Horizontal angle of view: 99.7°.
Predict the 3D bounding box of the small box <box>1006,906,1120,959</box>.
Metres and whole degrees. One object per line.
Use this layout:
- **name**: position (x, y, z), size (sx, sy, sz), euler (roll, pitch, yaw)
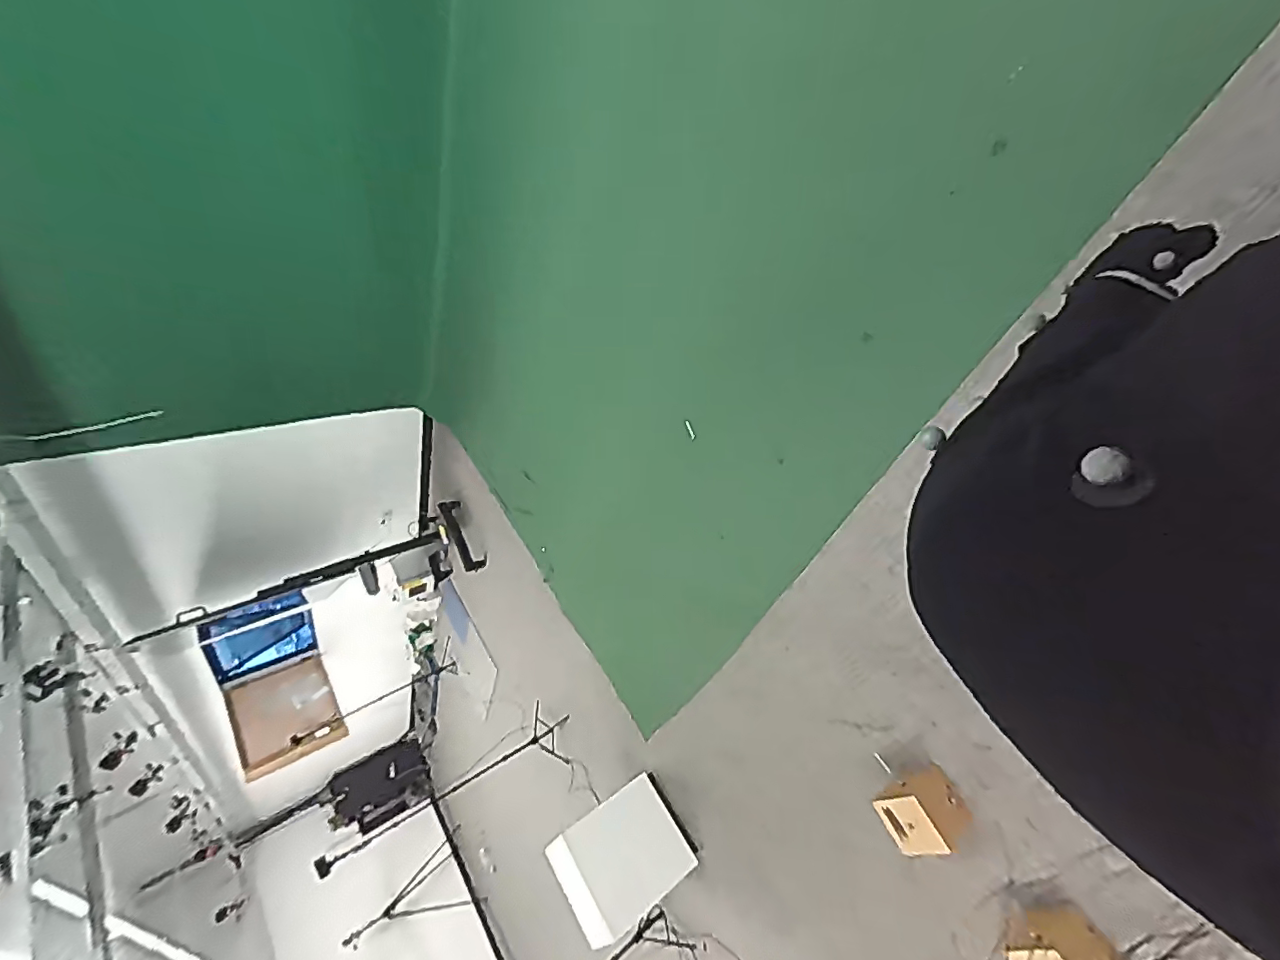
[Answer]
- **small box**: position (1.128, 1.269, 1.428), size (0.168, 0.176, 0.179), euler (53, 139, 25)
